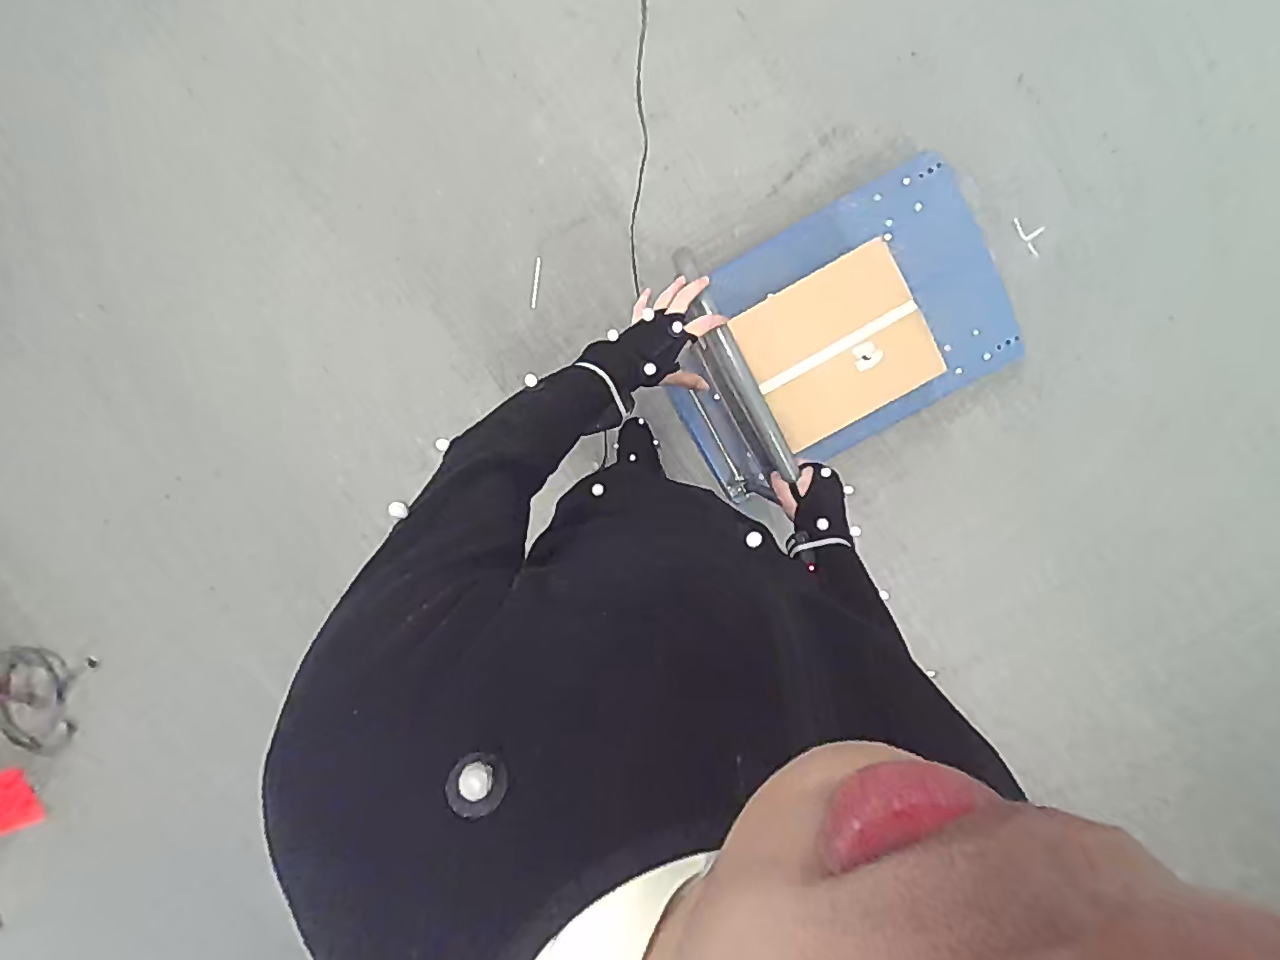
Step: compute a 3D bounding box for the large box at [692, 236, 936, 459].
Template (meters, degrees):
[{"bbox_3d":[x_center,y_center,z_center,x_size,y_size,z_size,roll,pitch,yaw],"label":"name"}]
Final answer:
[{"bbox_3d":[0.377,-0.286,1.276,0.408,0.320,0.320,-29,96,3],"label":"large box"}]
